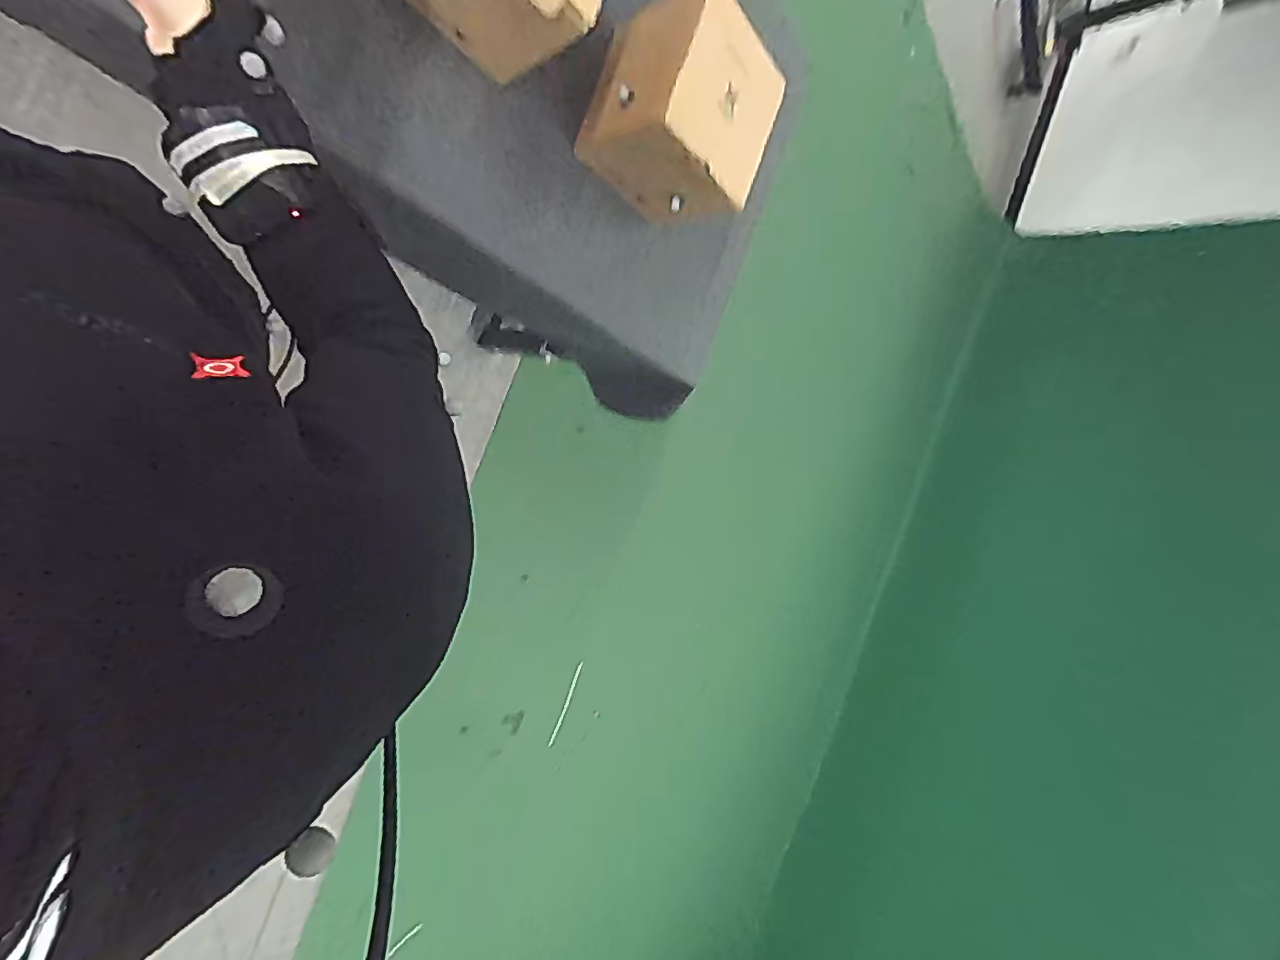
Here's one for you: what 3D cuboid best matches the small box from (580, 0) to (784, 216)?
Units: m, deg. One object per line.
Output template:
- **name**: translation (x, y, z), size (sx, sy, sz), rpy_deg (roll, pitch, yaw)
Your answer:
- **small box**: translation (0.048, -0.465, 0.688), size (0.168, 0.176, 0.179), rpy_deg (20, 88, -46)
